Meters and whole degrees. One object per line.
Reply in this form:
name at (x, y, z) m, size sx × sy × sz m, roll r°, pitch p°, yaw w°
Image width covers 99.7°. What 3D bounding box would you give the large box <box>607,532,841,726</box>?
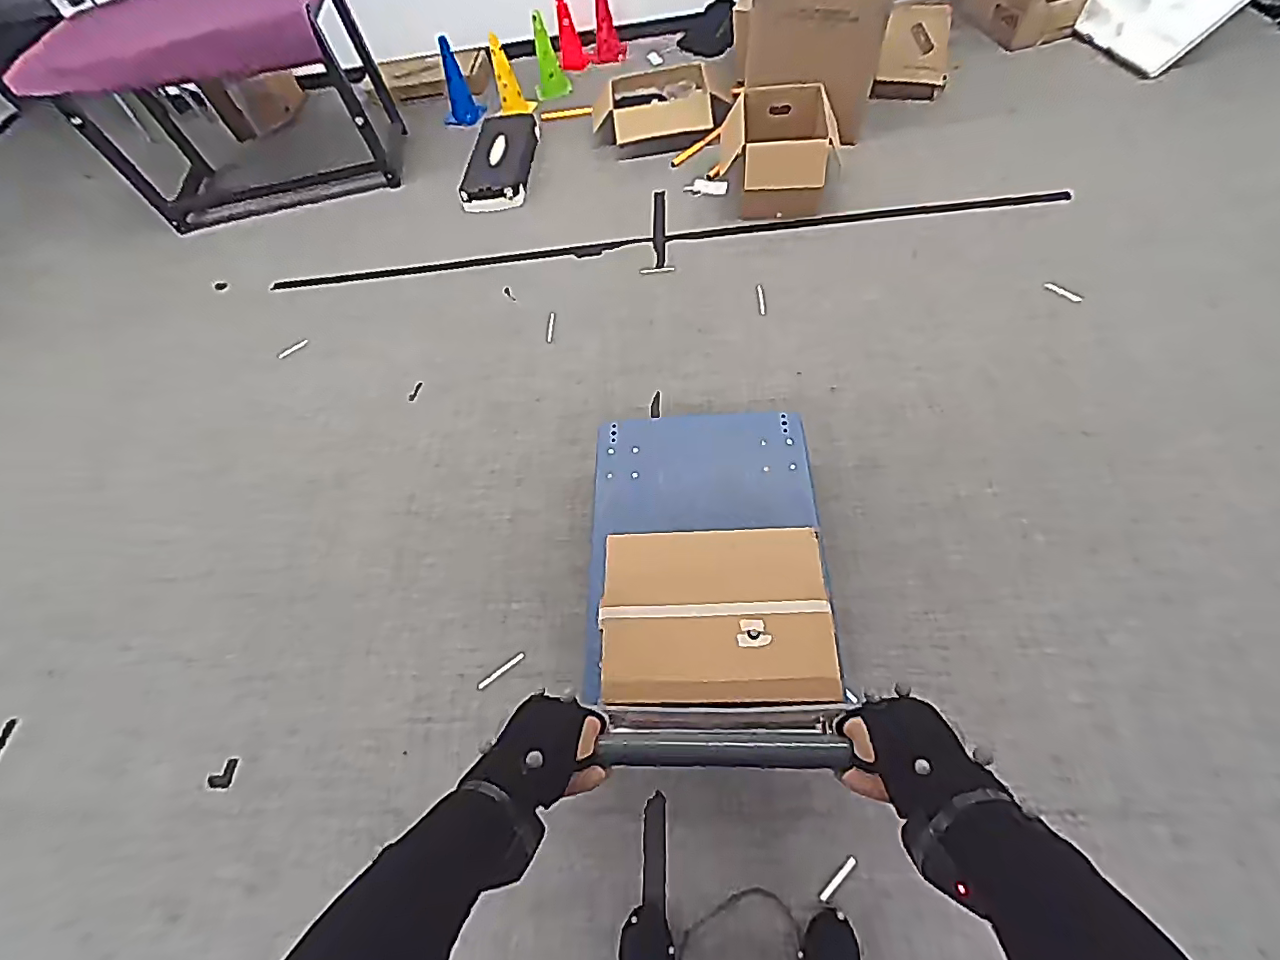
large box at (0.151, 0.320, 1.117) m, size 0.408 × 0.320 × 0.320 m, roll -3°, pitch 61°, yaw 5°
